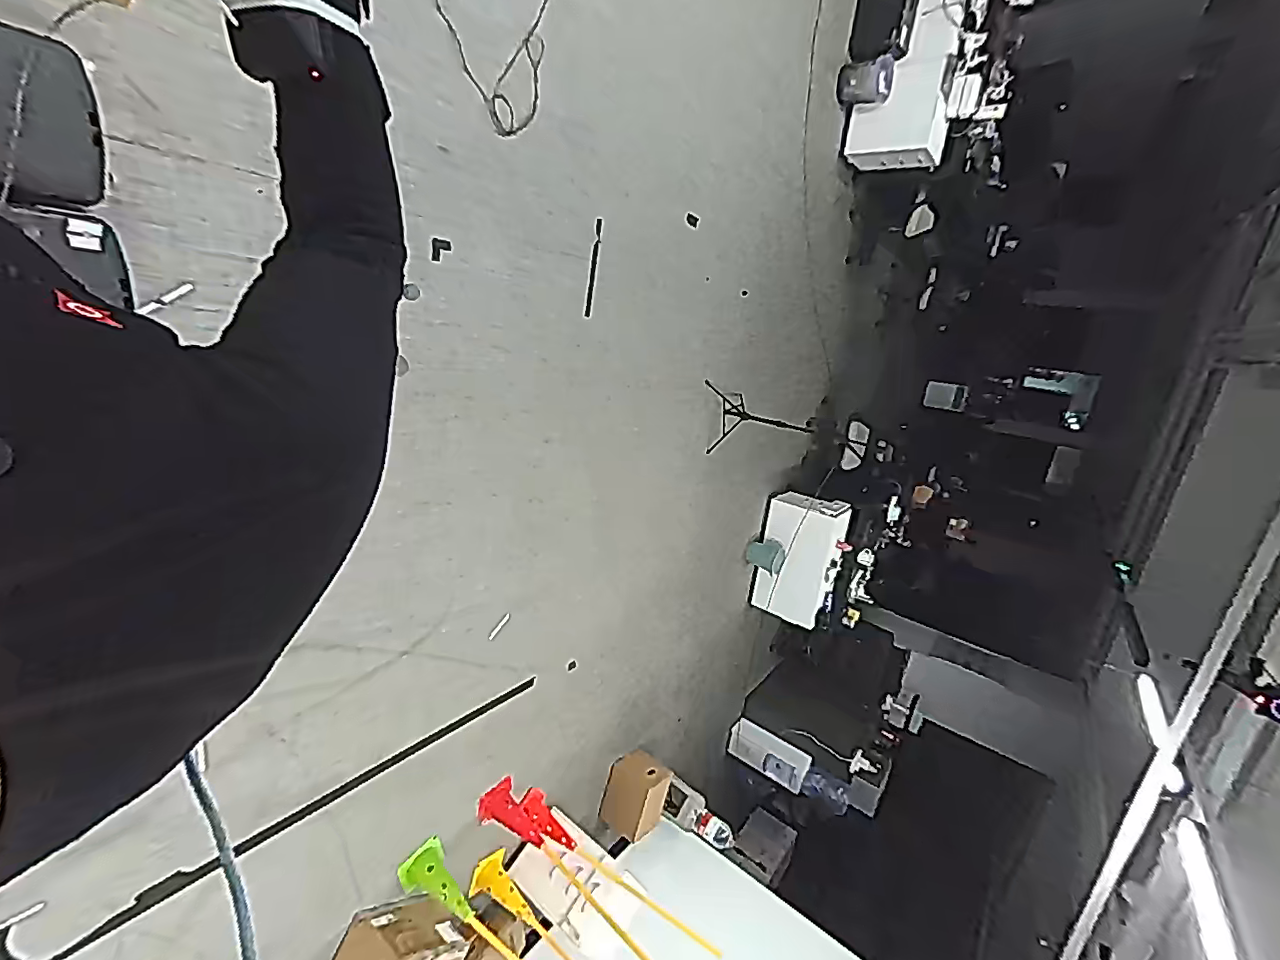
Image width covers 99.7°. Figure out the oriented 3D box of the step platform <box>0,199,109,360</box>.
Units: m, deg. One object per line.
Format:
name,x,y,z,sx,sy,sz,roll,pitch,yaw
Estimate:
step platform,-1.320,-0.341,0.856,0.684,0.204,0.286,-15,117,-50
